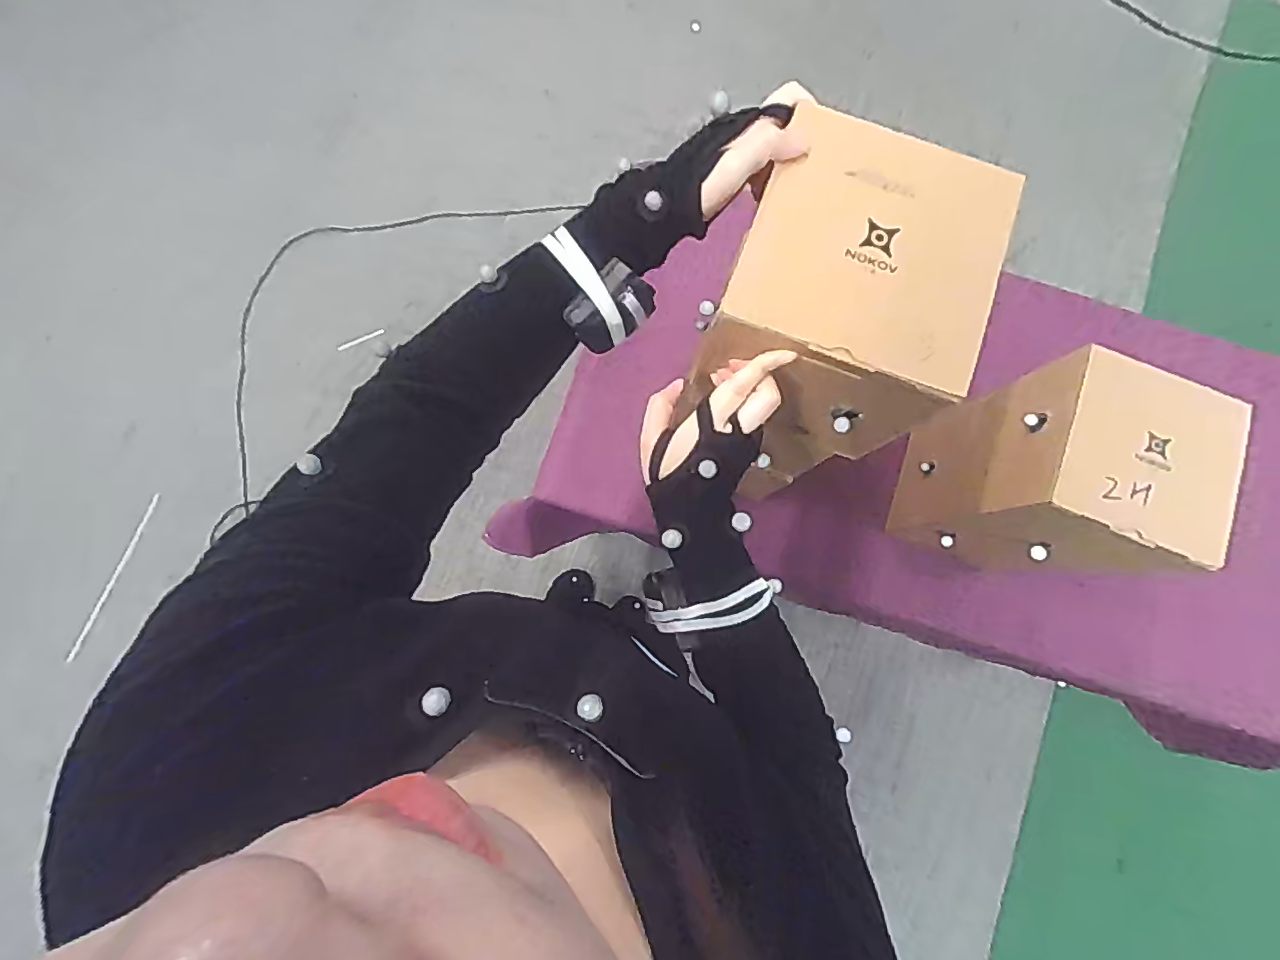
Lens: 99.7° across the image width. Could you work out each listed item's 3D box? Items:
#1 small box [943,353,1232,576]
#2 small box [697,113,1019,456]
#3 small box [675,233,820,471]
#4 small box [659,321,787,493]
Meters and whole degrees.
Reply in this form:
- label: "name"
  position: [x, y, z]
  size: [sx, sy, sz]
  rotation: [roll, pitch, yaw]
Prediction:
- label: "small box"
  position: [0.476, -0.005, 0.601]
  size: [0.168, 0.176, 0.179]
  rotation: [23, 80, 2]
- label: "small box"
  position: [0.154, -0.136, 0.440]
  size: [0.168, 0.176, 0.179]
  rotation: [21, 80, 0]
- label: "small box"
  position: [0.146, -0.126, 0.604]
  size: [0.168, 0.176, 0.179]
  rotation: [22, 79, 1]
- label: "small box"
  position: [0.132, -0.093, 0.765]
  size: [0.168, 0.176, 0.179]
  rotation: [21, 81, 0]
